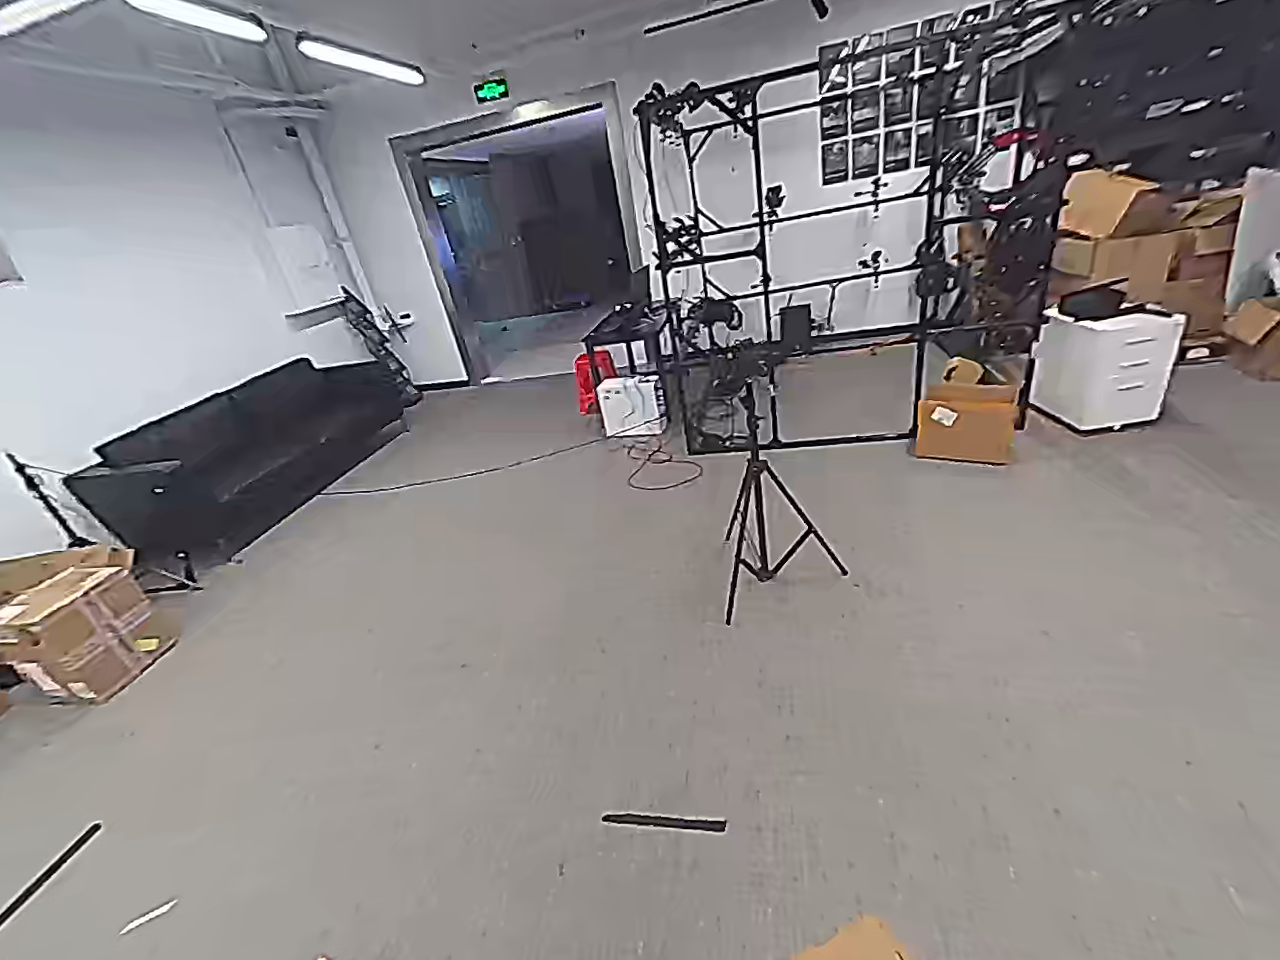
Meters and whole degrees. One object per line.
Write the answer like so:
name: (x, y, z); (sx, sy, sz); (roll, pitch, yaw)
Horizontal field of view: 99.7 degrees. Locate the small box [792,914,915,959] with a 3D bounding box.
small box: (0.195, 0.518, 0.461); (0.179, 0.176, 0.168); (-30, 37, 1)
